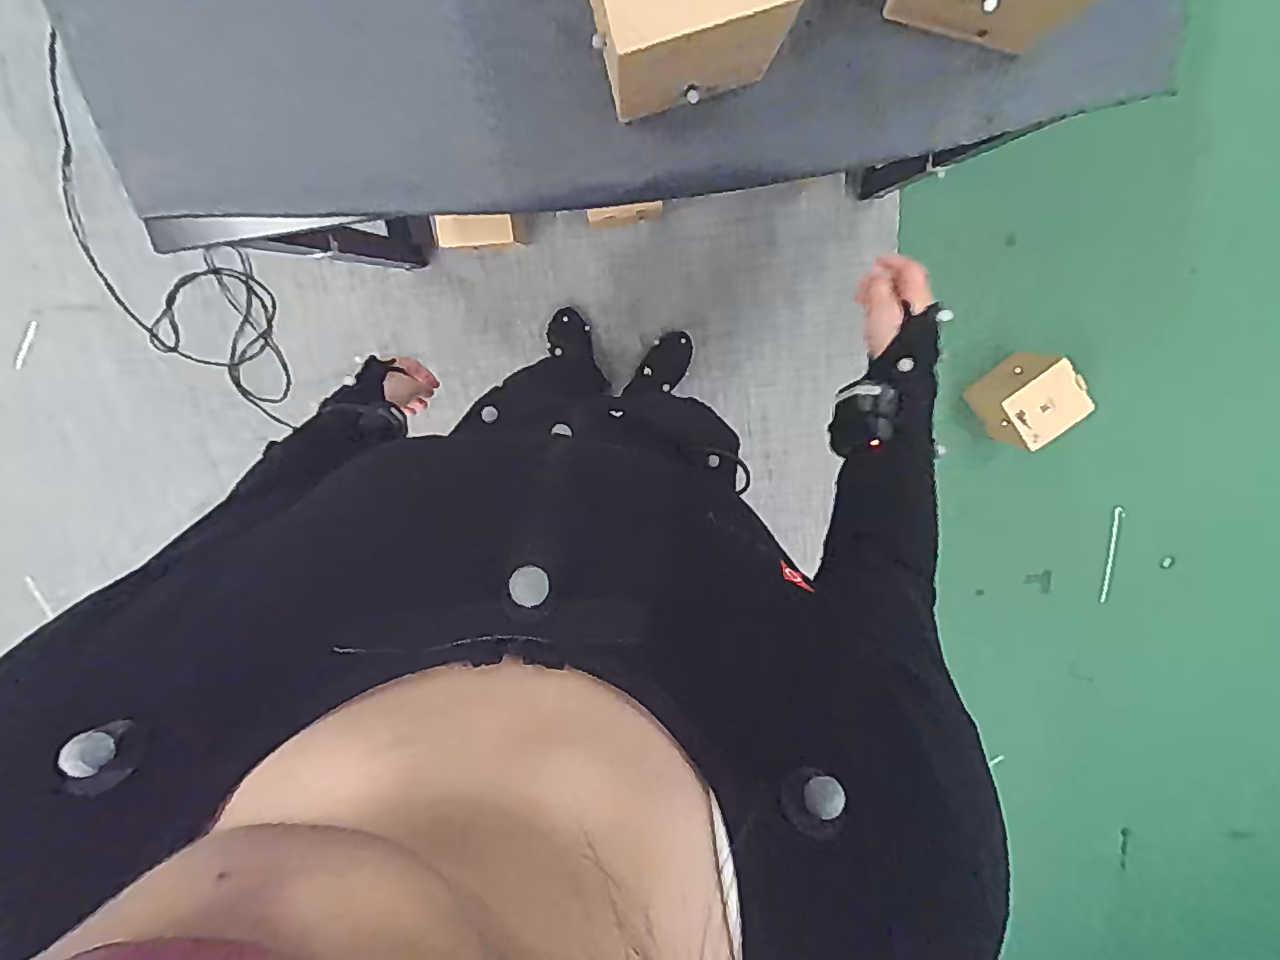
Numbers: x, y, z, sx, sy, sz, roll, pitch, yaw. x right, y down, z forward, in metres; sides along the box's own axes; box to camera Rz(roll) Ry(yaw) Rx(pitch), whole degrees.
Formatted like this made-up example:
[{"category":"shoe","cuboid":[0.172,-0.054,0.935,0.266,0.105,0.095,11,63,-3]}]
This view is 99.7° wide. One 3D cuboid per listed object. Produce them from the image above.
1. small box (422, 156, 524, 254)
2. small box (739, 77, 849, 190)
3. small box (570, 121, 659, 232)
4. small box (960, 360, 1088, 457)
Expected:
[{"category":"small box","cuboid":[-0.366,-0.609,1.219,0.168,0.176,0.179,-4,108,0]},{"category":"small box","cuboid":[0.326,-0.749,1.185,0.179,0.176,0.168,4,108,-4]},{"category":"small box","cuboid":[-0.052,-0.664,1.206,0.168,0.176,0.179,-10,107,2]},{"category":"small box","cuboid":[0.974,-0.191,1.386,0.179,0.176,0.168,-39,105,10]}]
